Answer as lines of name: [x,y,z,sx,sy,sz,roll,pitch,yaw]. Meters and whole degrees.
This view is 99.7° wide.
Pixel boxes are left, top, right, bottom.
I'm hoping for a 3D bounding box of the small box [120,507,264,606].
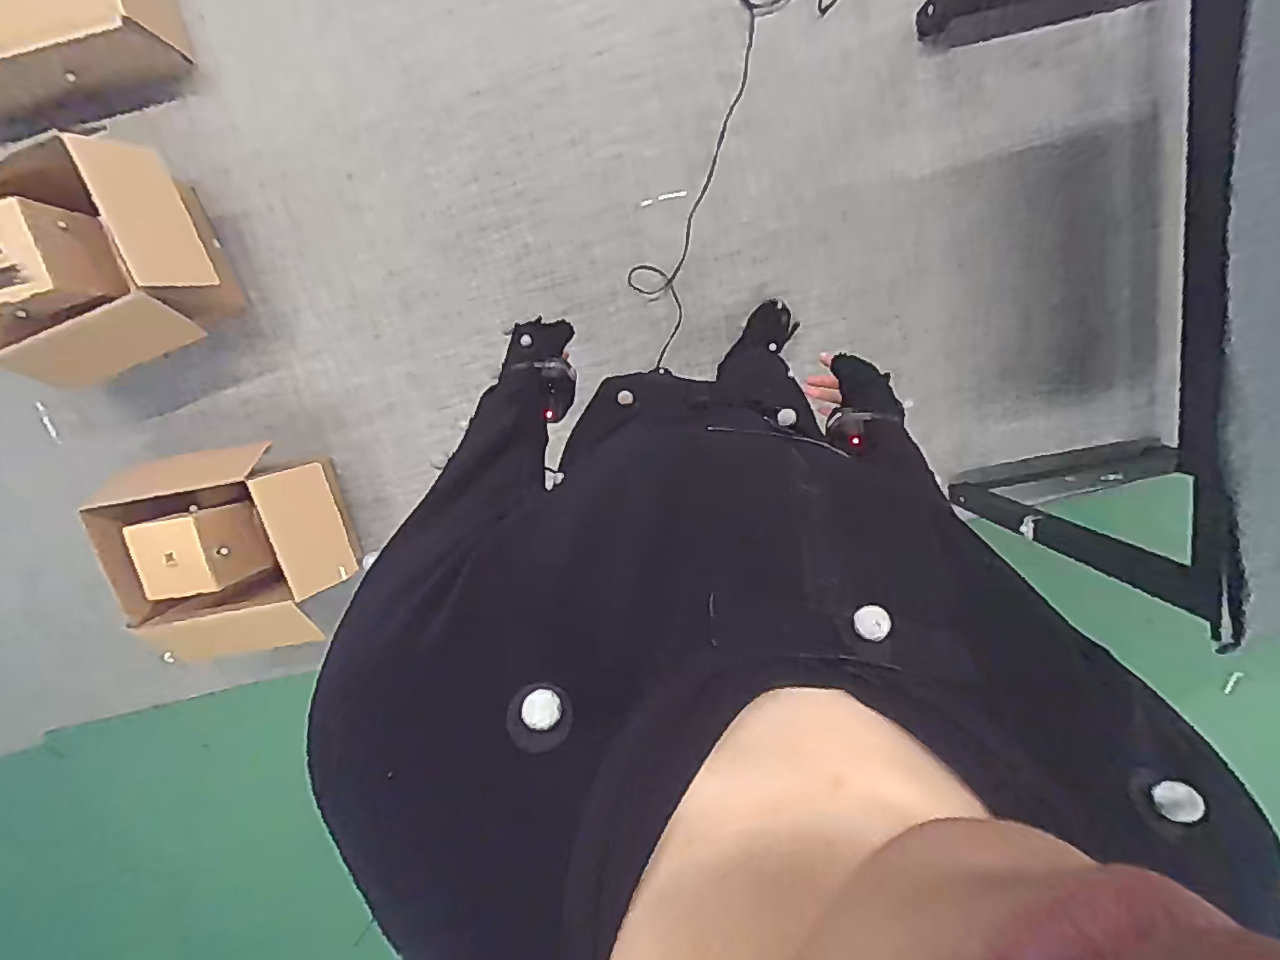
small box: [-1.017,0.167,1.244,0.168,0.176,0.179,-10,101,3]
